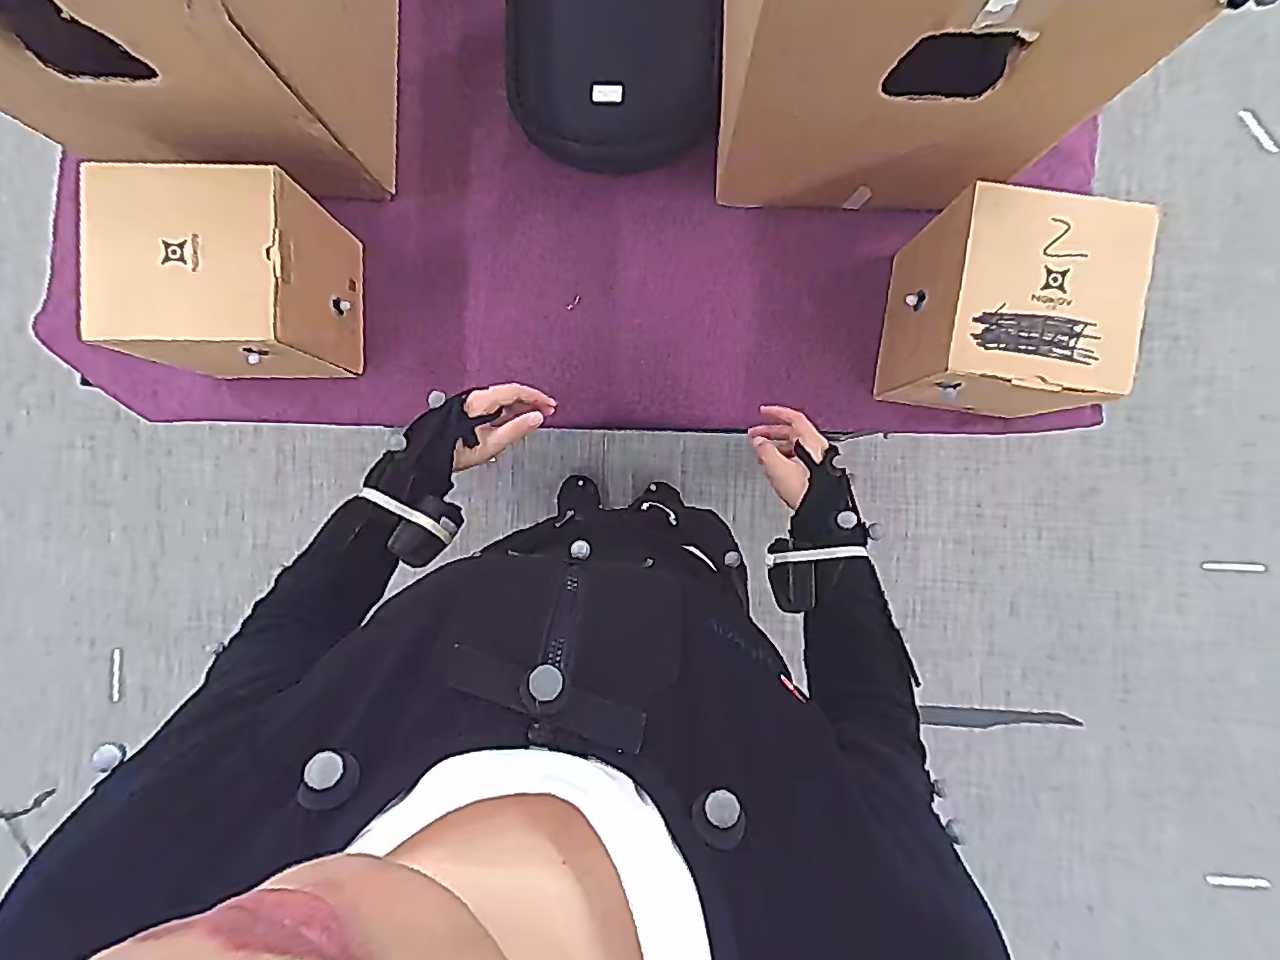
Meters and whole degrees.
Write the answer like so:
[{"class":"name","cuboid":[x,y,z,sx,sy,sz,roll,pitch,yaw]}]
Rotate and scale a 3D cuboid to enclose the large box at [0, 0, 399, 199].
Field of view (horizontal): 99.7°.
[{"class":"large box","cuboid":[-0.444,-0.542,0.512,0.320,0.320,0.408,1,93,0]}]
